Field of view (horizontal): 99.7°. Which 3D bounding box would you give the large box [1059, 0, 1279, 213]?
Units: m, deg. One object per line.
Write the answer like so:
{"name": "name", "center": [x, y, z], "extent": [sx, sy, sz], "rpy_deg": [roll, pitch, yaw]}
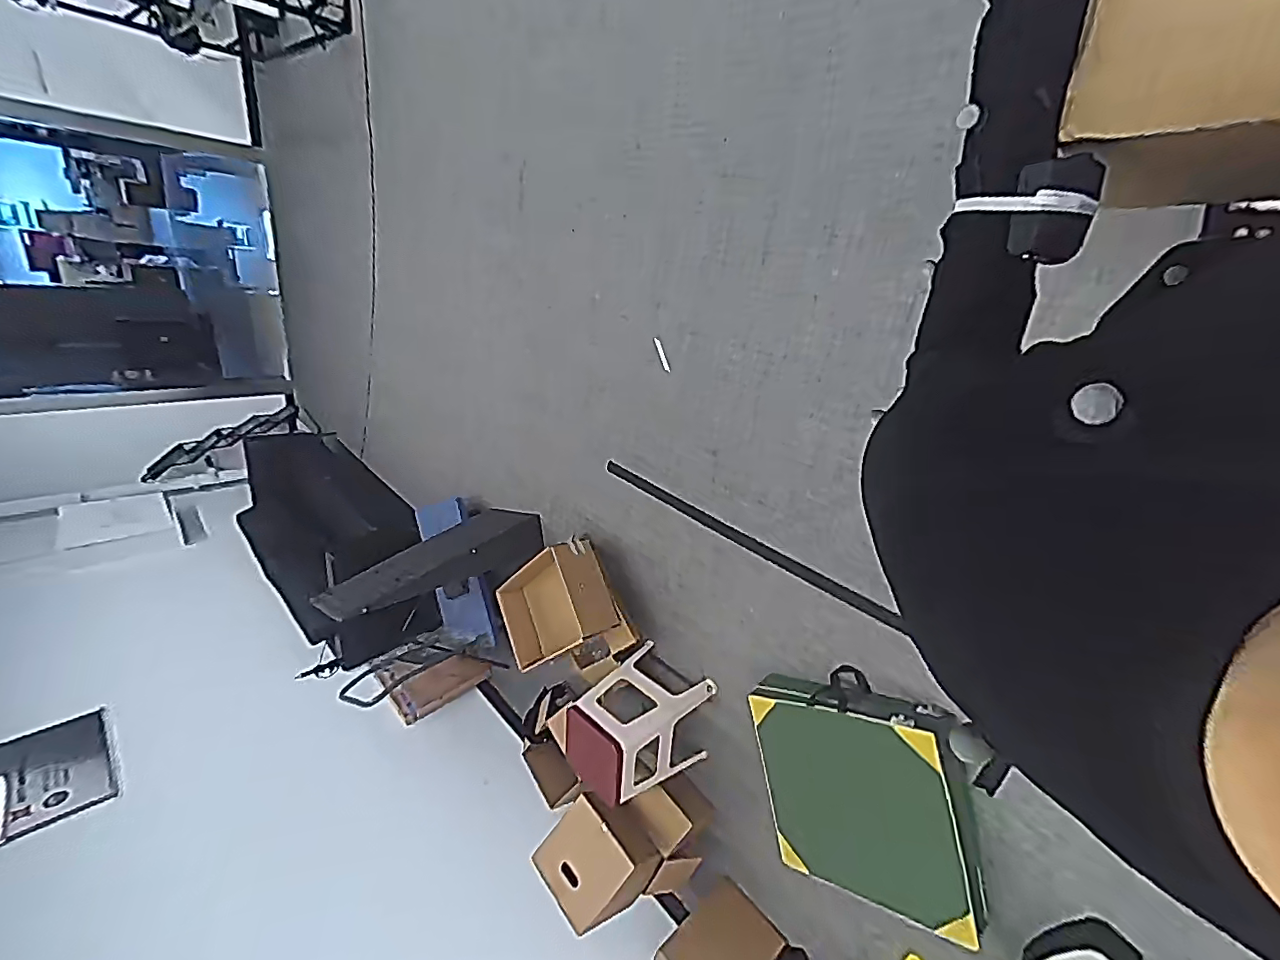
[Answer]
{"name": "large box", "center": [0.550, -0.373, 0.337], "extent": [0.408, 0.320, 0.320], "rpy_deg": [16, 113, 37]}
